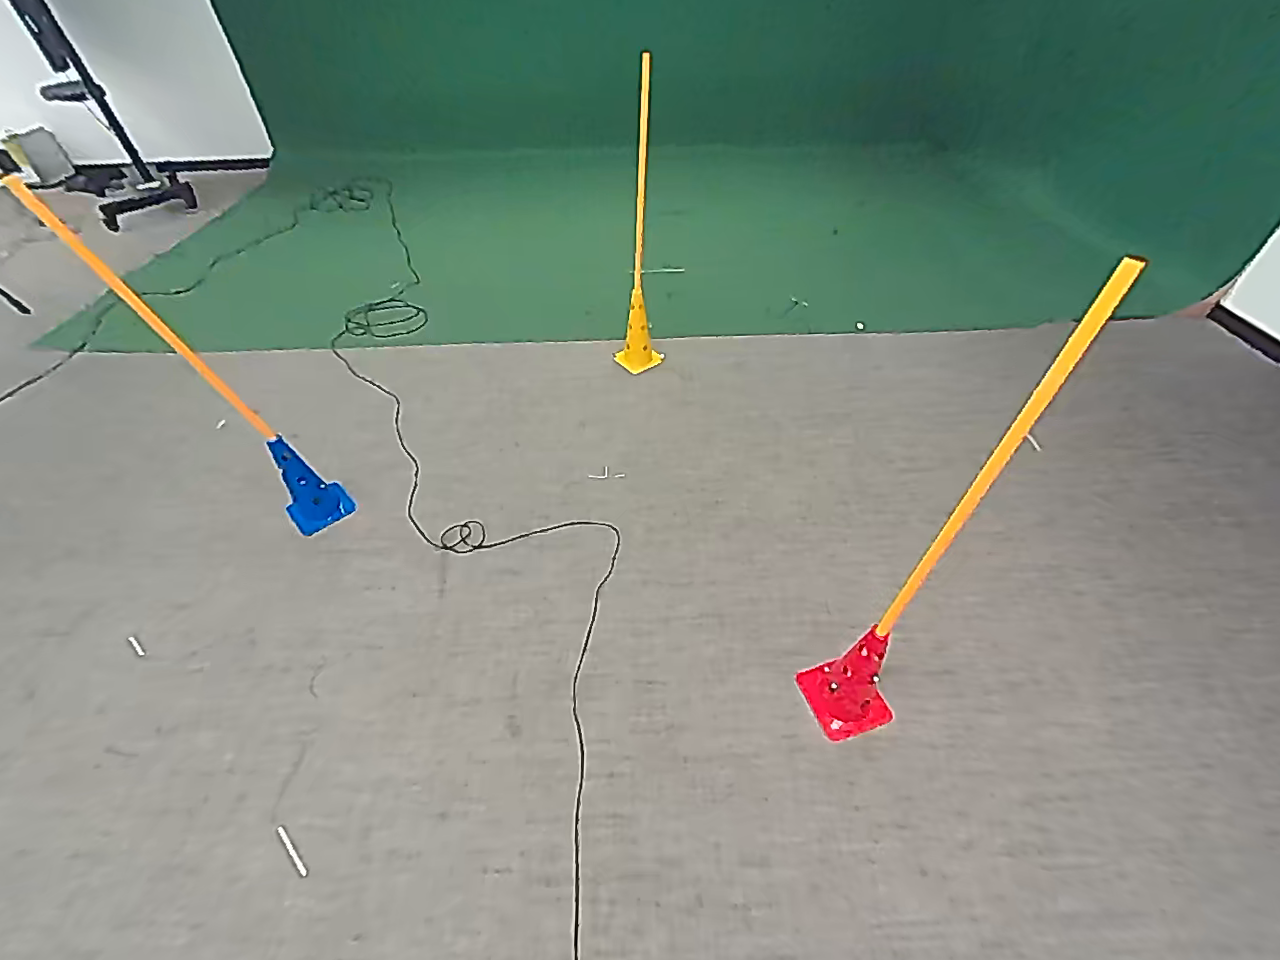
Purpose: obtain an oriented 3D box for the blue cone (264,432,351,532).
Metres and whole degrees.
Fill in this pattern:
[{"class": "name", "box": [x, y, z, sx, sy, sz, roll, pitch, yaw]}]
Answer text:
[{"class": "blue cone", "box": [-1.188, -0.011, 1.876, 0.192, 0.380, 0.193, 35, 57, 29]}]
